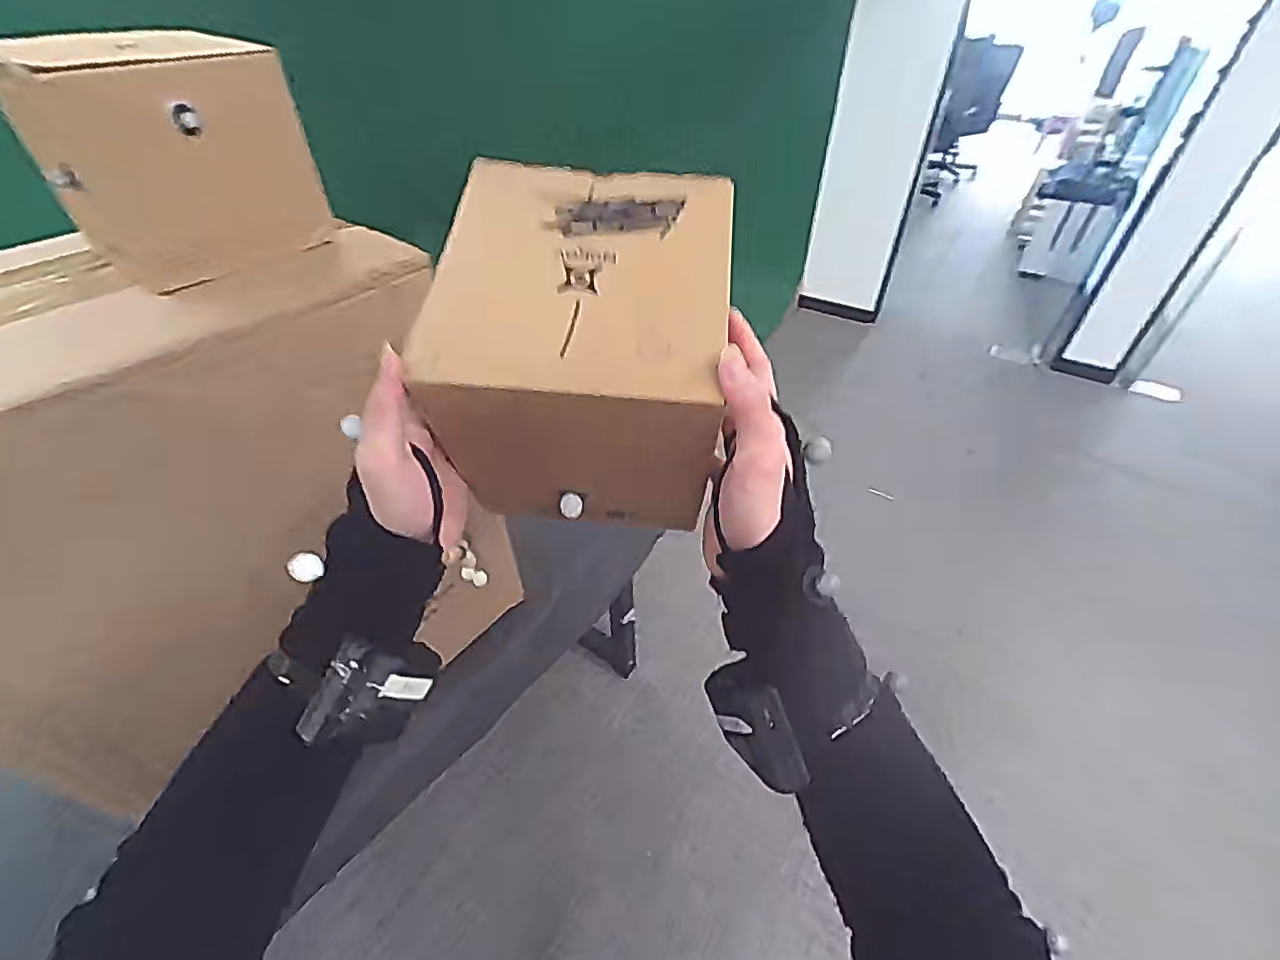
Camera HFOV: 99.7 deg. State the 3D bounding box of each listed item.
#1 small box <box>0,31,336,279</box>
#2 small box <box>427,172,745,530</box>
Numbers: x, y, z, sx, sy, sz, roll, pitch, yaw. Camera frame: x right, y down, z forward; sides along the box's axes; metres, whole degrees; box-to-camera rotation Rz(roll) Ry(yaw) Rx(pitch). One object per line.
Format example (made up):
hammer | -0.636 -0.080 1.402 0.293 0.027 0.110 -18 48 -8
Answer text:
small box | -0.436 -0.312 0.518 0.168 0.176 0.179 30 48 24
small box | -0.023 -0.083 0.388 0.168 0.176 0.179 6 63 3
